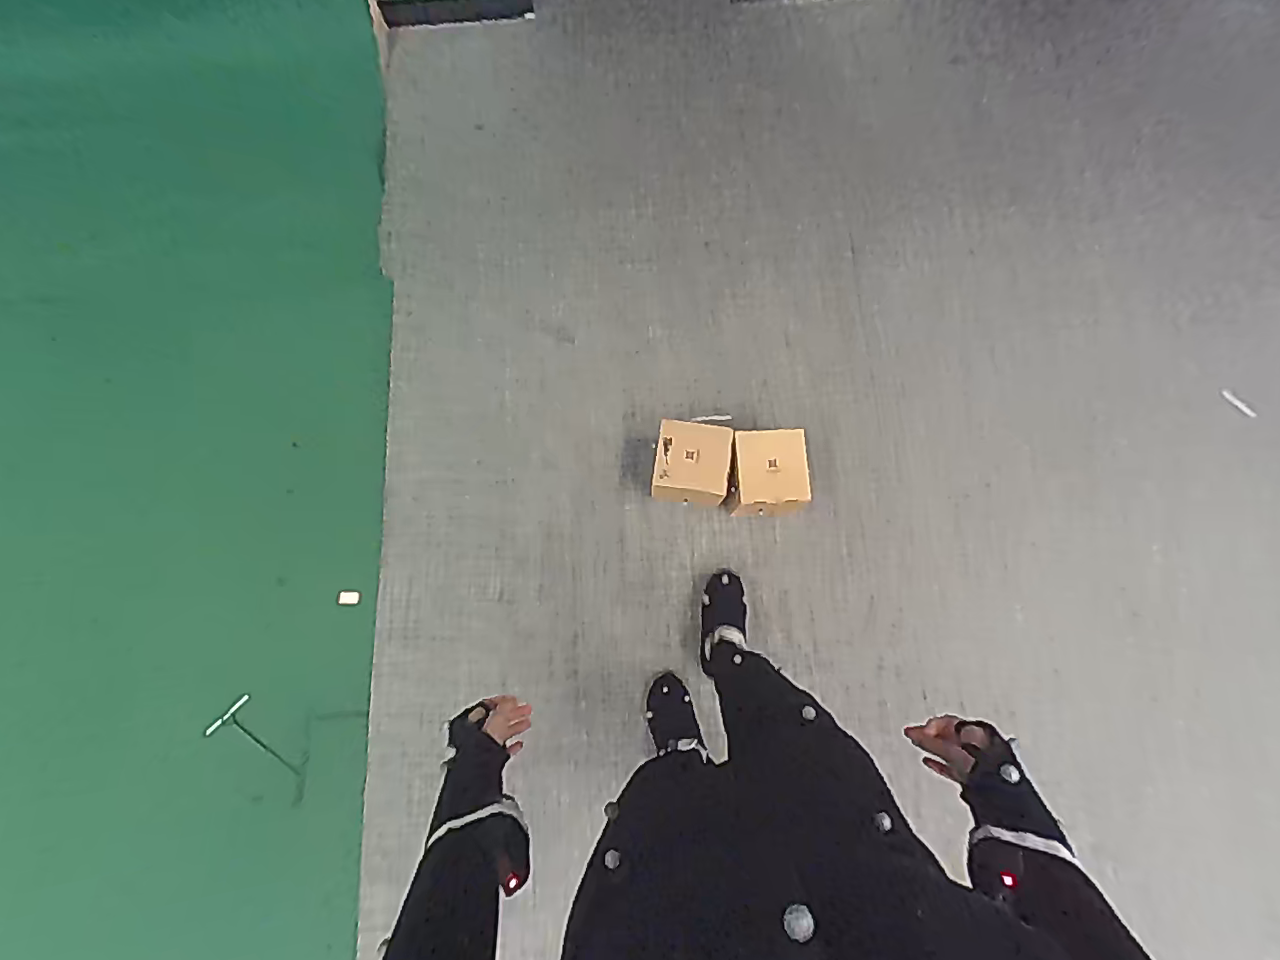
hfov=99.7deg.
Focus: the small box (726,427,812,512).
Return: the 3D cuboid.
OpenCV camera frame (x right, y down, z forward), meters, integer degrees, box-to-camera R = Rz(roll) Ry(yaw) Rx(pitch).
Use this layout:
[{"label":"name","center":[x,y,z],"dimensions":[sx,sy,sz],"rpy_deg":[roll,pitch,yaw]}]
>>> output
[{"label":"small box","center":[0.311,-0.021,1.337],"dimensions":[0.168,0.176,0.179],"rpy_deg":[-3,78,0]}]
